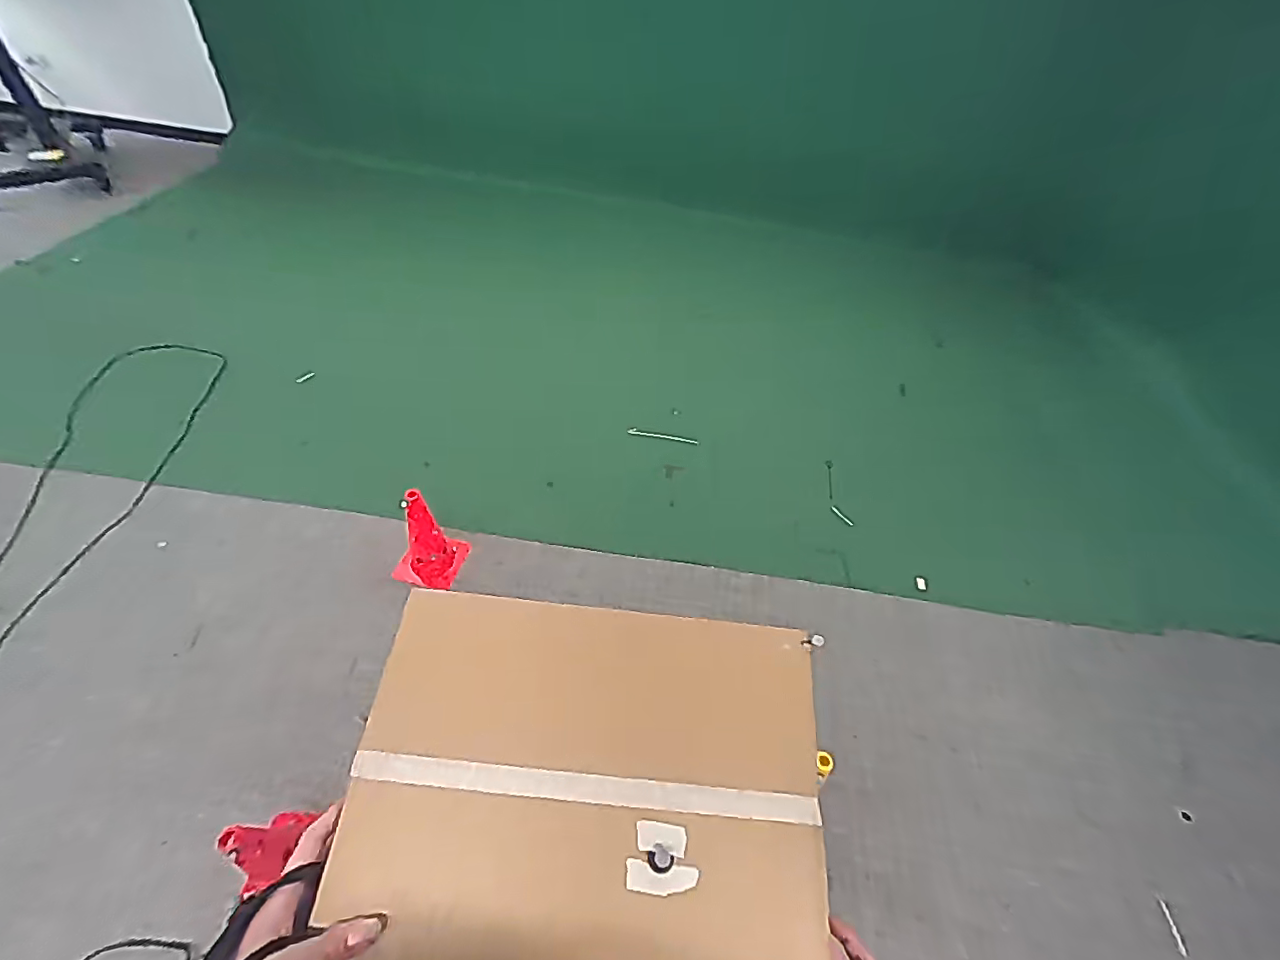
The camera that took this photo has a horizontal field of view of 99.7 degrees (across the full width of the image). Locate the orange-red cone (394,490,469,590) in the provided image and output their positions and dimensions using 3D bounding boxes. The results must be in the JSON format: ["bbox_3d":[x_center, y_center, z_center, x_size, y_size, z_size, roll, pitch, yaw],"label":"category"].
[{"bbox_3d":[-0.698,0.163,1.728,0.199,0.360,0.198,13,47,6],"label":"orange-red cone"}]

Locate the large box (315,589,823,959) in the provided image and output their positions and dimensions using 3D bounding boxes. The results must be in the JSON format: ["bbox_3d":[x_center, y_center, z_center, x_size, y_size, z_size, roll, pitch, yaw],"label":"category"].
[{"bbox_3d":[-0.052,0.335,0.613,0.408,0.320,0.320,6,62,-1],"label":"large box"}]
